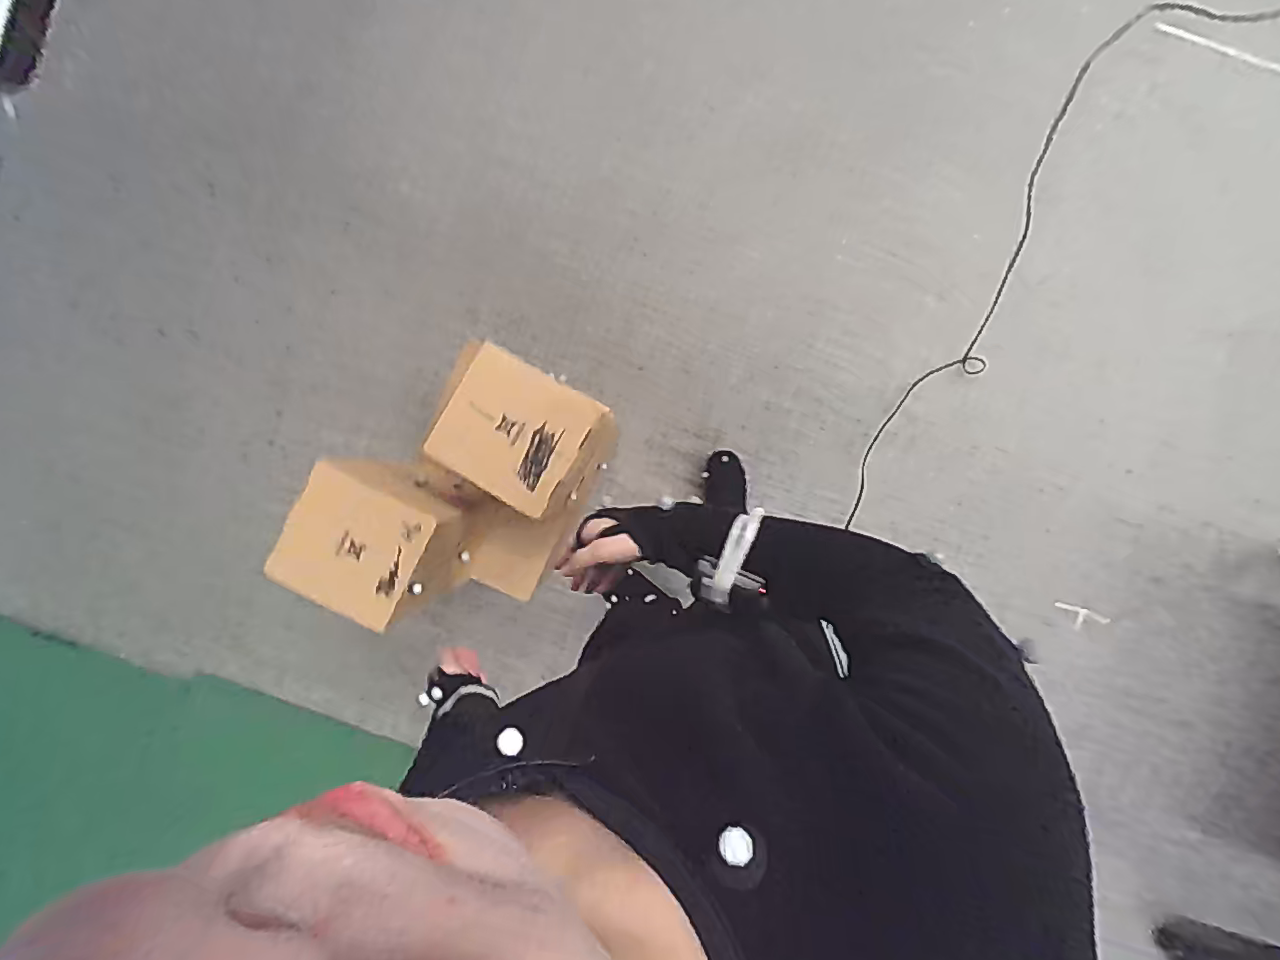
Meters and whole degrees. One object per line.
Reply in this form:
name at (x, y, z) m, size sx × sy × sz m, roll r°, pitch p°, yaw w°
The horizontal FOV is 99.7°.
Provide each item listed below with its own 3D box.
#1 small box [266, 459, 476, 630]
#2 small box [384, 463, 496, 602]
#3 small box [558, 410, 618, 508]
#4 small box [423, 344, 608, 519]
small box at (-0.368, 0.083, 0.772) m, size 0.179 × 0.176 × 0.168 m, roll 28°, pitch 92°, yaw 1°
small box at (-0.368, 0.083, 0.937) m, size 0.168 × 0.176 × 0.179 m, roll 25°, pitch 91°, yaw 1°
small box at (-0.153, -0.065, 0.931) m, size 0.179 × 0.176 × 0.168 m, roll 27°, pitch 92°, yaw 2°
small box at (-0.161, -0.063, 0.766) m, size 0.179 × 0.176 × 0.168 m, roll 31°, pitch 91°, yaw 3°
